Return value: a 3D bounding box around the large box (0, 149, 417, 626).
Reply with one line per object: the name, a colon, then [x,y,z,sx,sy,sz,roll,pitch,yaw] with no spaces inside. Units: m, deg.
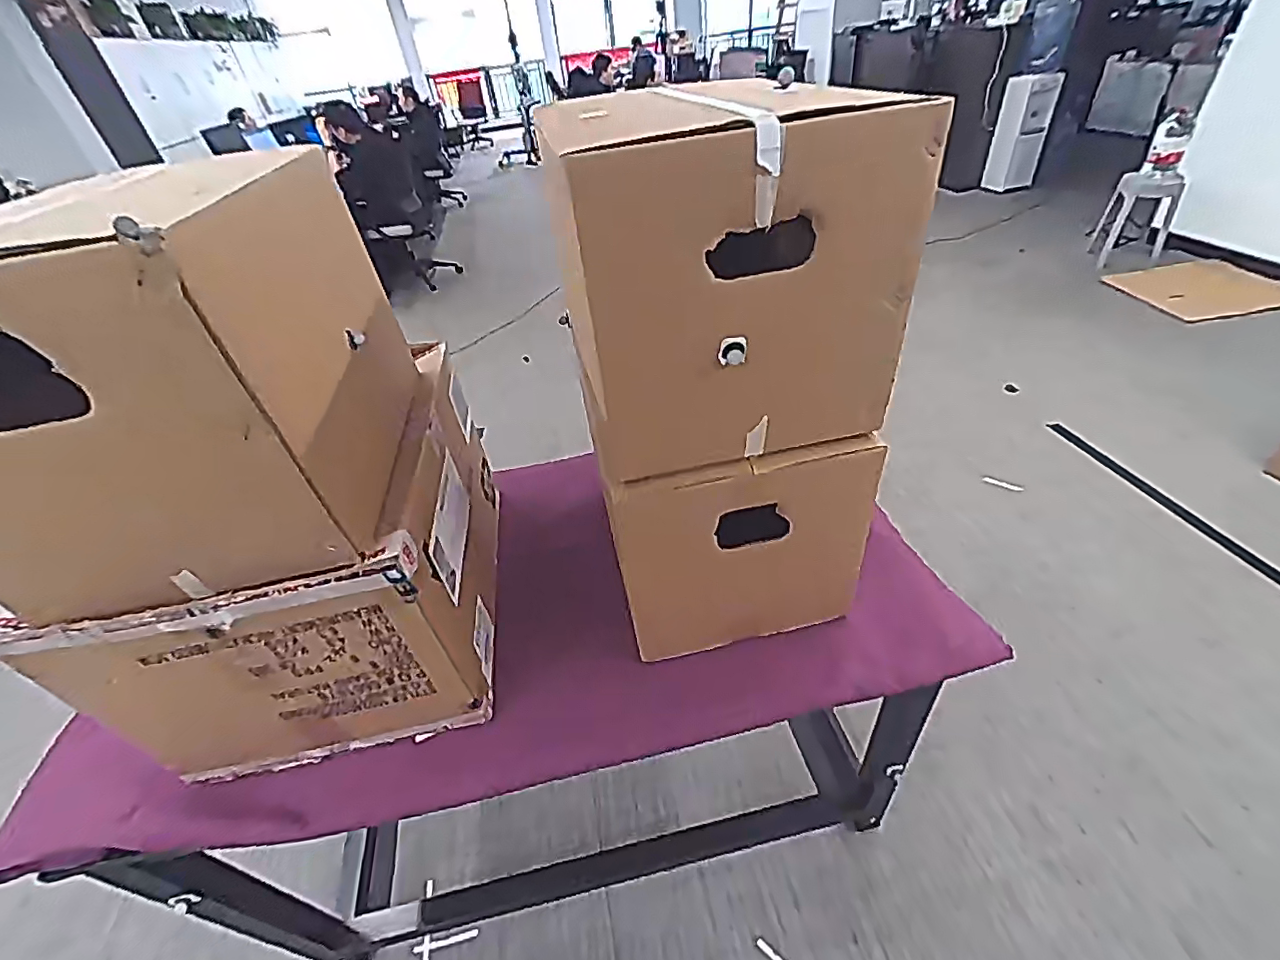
large box: [-0.460,-0.125,0.575,0.320,0.320,0.408,-14,40,-4]
